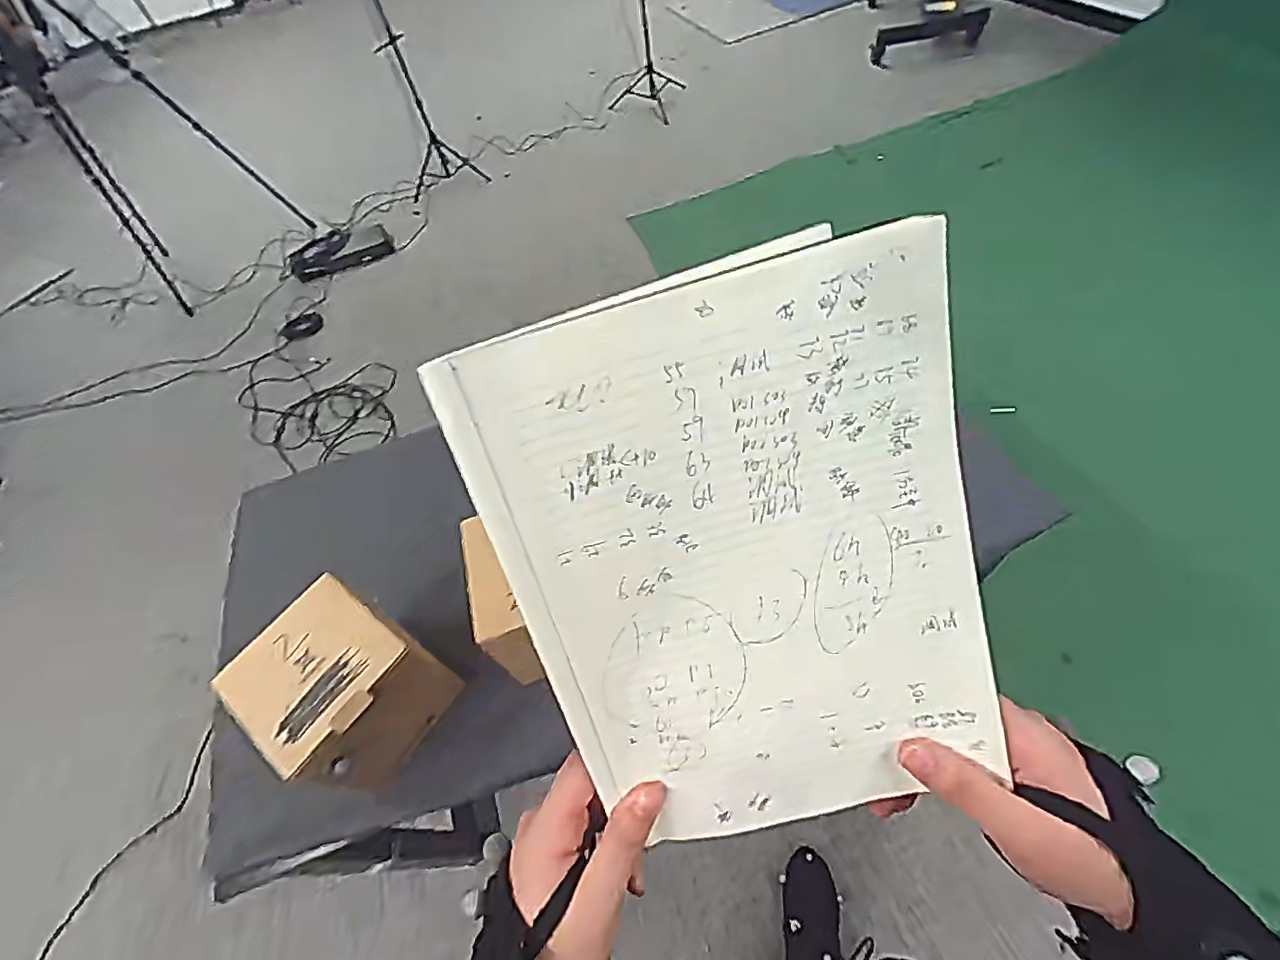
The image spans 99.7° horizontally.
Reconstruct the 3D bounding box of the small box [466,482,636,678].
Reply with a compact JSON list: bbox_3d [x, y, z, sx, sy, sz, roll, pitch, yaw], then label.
[{"bbox_3d":[-0.115,0.137,0.726,0.168,0.176,0.179,-20,54,-3],"label":"small box"}]
